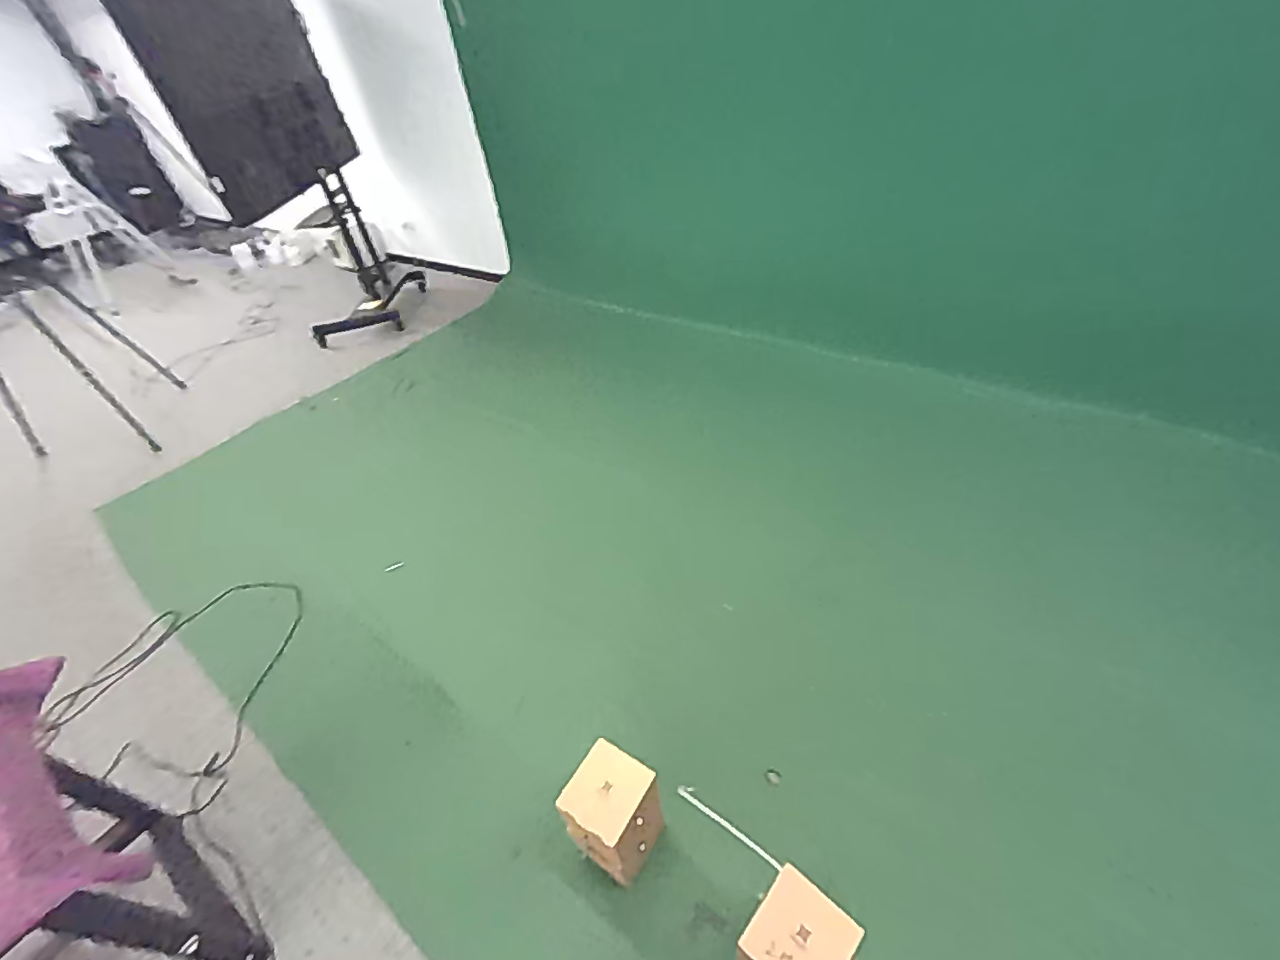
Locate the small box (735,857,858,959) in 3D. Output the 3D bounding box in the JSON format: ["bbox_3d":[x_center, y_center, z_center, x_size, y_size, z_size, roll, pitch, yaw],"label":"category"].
[{"bbox_3d":[0.297,0.898,1.058,0.168,0.176,0.179,29,54,34],"label":"small box"}]

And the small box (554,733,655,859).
[{"bbox_3d":[-0.076,0.751,1.285,0.168,0.176,0.179,20,50,28],"label":"small box"}]

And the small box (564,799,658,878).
[{"bbox_3d":[-0.065,0.874,1.390,0.168,0.176,0.179,21,49,29],"label":"small box"}]
